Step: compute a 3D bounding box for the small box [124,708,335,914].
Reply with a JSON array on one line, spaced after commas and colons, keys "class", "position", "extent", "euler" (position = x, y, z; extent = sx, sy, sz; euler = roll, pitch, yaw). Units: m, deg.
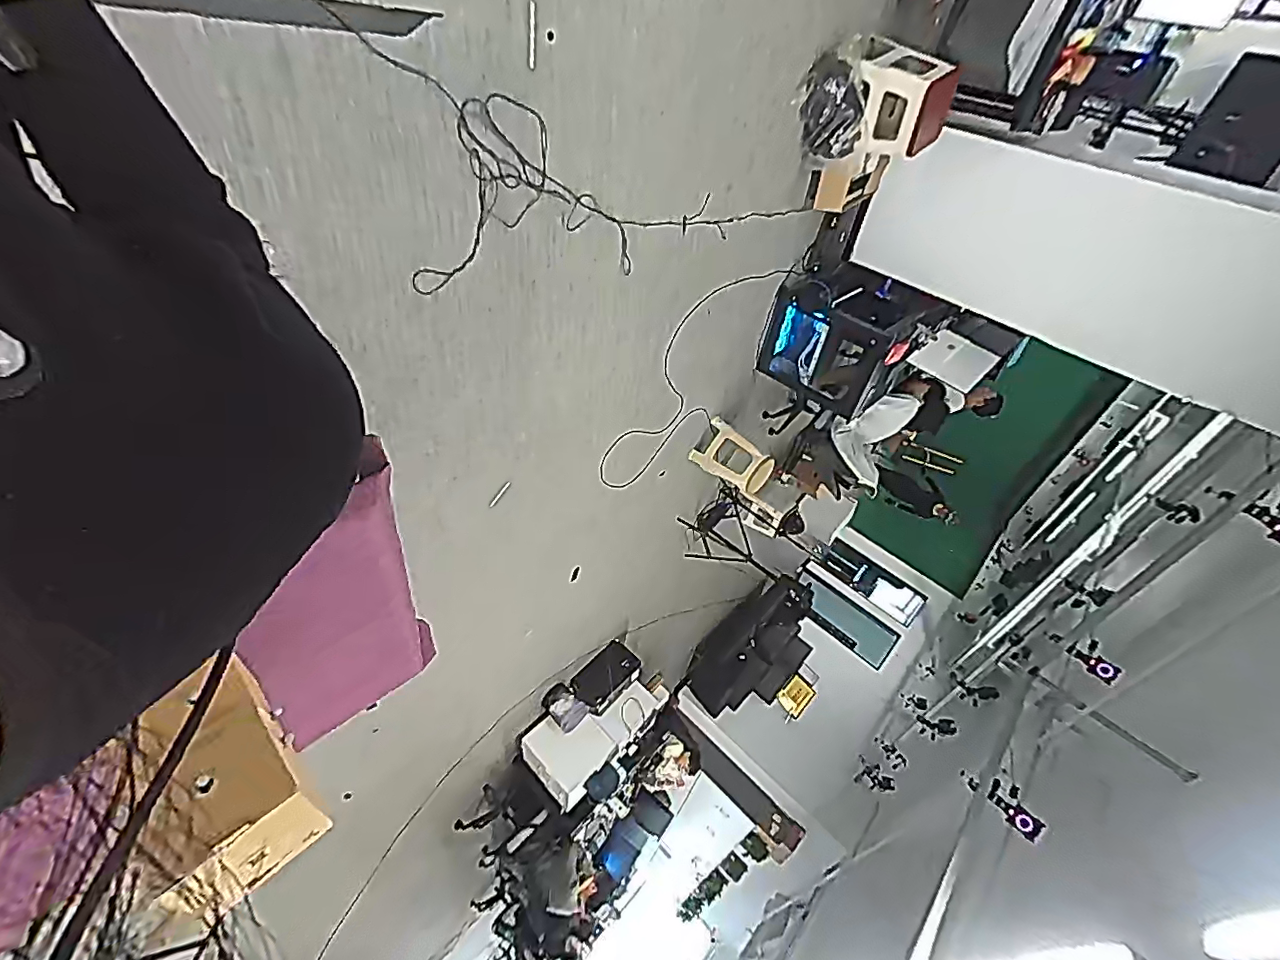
[{"class": "small box", "position": [-0.581, 0.462, 0.775], "extent": [0.168, 0.176, 0.179], "euler": [-33, 147, -35]}]

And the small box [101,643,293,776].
[{"class": "small box", "position": [-0.702, 0.392, 0.865], "extent": [0.168, 0.176, 0.179], "euler": [-32, 148, -36]}]
